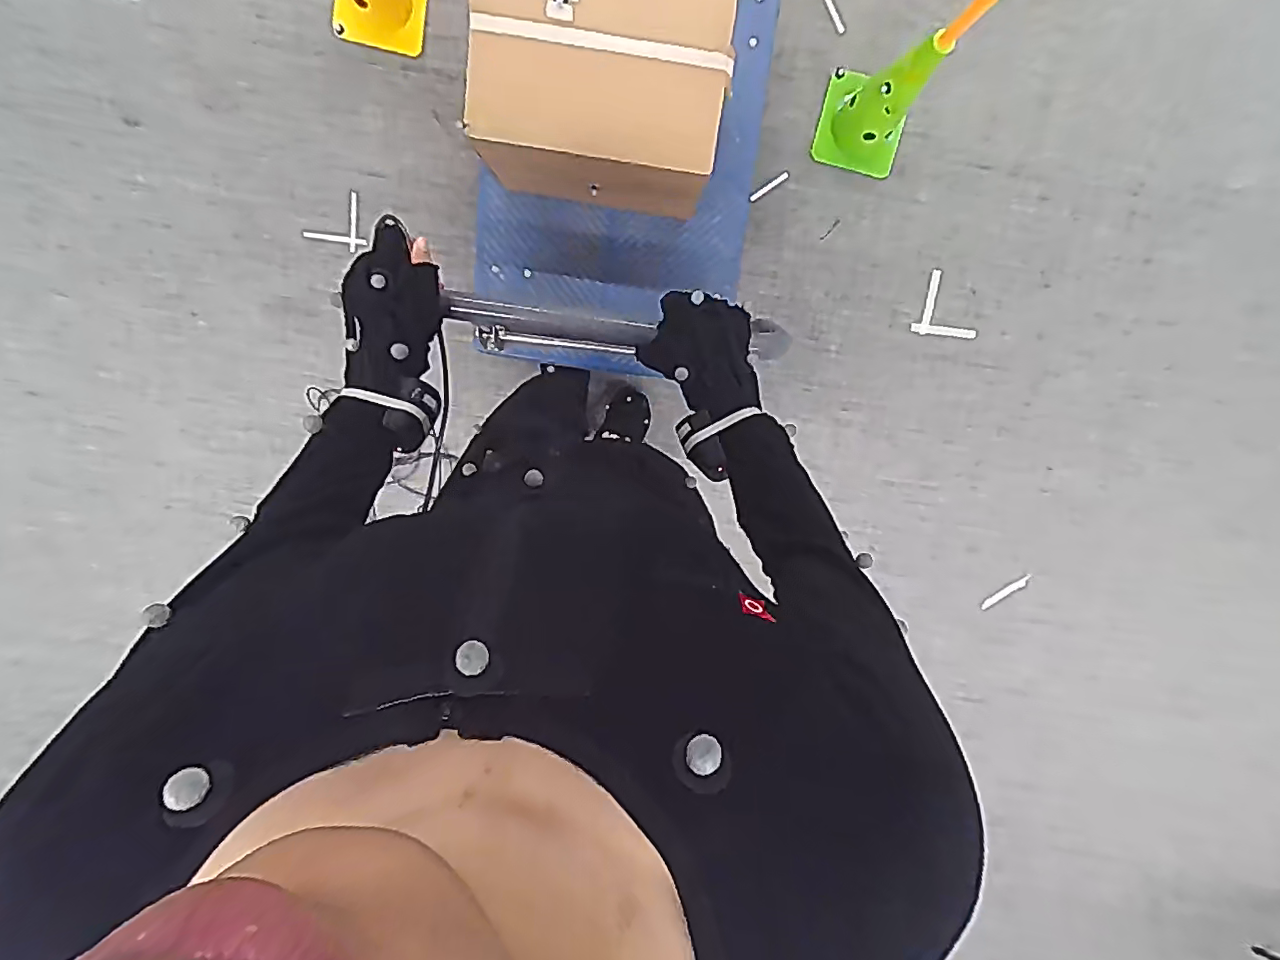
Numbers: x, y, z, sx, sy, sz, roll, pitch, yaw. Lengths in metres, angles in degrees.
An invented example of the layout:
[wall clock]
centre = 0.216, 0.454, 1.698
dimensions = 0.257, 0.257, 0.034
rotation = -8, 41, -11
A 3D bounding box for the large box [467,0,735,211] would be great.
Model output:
[large box]
centre = -0.062, -0.710, 0.984
dimensions = 0.408, 0.320, 0.320
rotation = 8, 103, -2

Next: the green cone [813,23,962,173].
[green cone]
centre = 0.533, -0.816, 1.118
dimensions = 0.202, 0.368, 0.200
rotation = 12, 103, -5
